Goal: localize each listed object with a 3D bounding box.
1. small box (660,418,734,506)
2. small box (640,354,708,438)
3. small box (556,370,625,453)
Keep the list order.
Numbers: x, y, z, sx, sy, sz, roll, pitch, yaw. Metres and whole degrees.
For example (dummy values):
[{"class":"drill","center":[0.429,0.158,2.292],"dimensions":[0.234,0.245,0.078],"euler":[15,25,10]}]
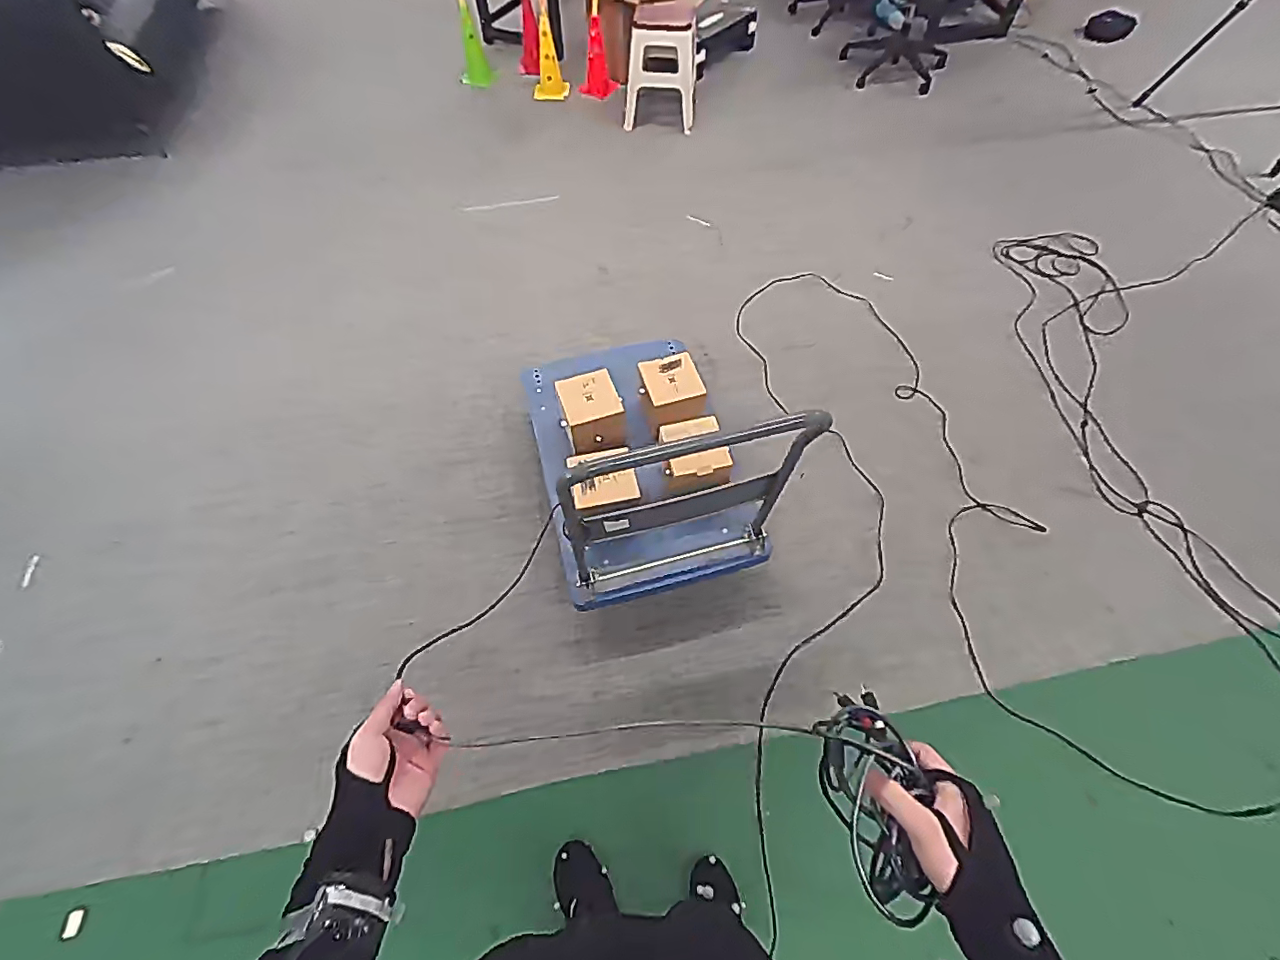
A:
[{"class":"small box","center":[0.156,-0.049,1.559],"dimensions":[0.168,0.176,0.179],"euler":[-12,61,-6]},{"class":"small box","center":[0.099,-0.259,1.681],"dimensions":[0.168,0.176,0.179],"euler":[-15,61,-8]},{"class":"small box","center":[-0.147,-0.200,1.647],"dimensions":[0.168,0.176,0.179],"euler":[-16,61,-10]}]
